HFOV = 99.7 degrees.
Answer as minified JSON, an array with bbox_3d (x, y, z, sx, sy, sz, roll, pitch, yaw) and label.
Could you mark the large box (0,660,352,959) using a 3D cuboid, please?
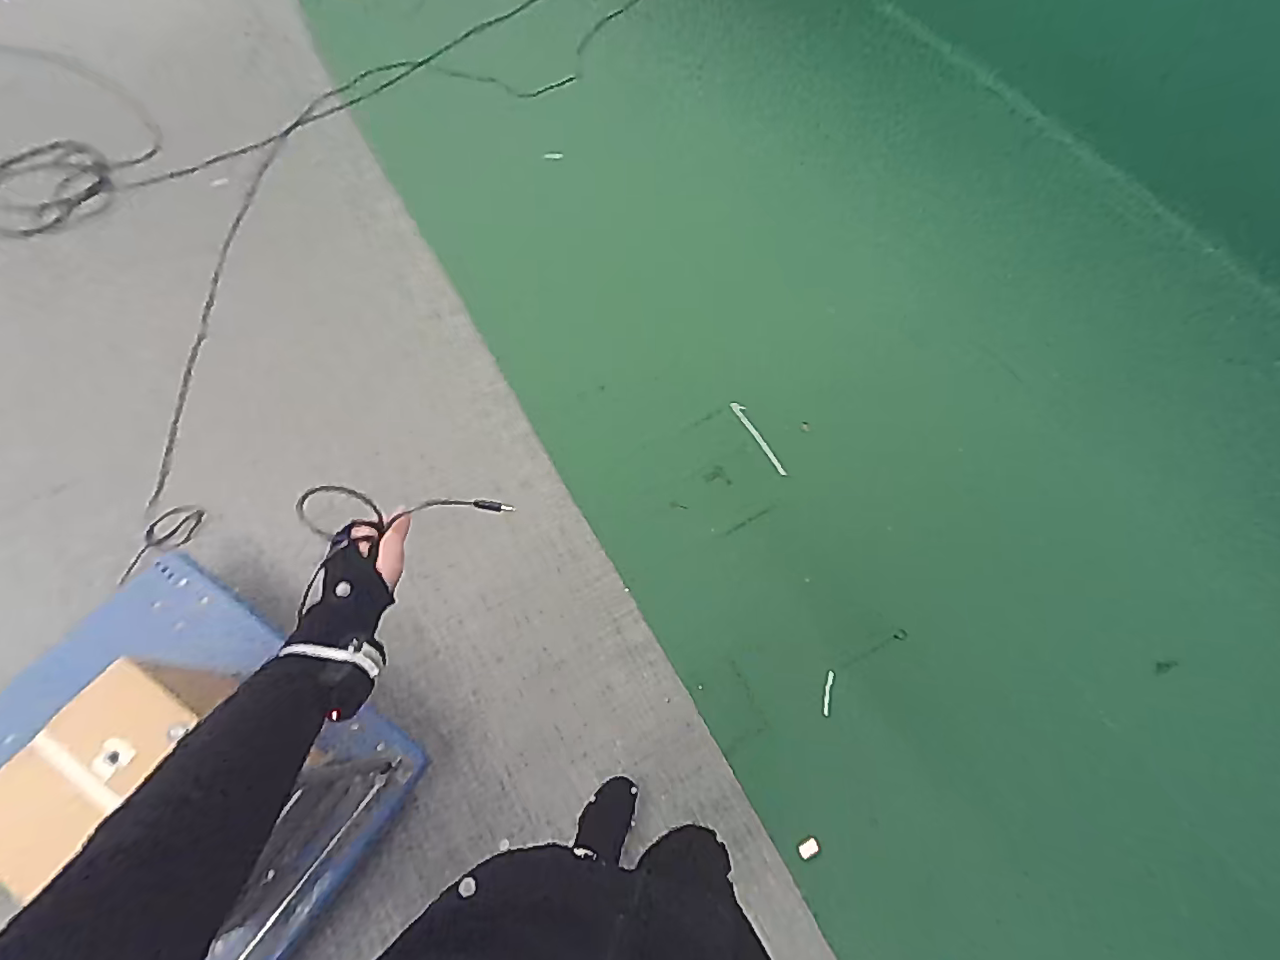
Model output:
[{"bbox_3d":[-0.855,0.600,1.019,0.408,0.320,0.320,32,66,11],"label":"large box"}]
